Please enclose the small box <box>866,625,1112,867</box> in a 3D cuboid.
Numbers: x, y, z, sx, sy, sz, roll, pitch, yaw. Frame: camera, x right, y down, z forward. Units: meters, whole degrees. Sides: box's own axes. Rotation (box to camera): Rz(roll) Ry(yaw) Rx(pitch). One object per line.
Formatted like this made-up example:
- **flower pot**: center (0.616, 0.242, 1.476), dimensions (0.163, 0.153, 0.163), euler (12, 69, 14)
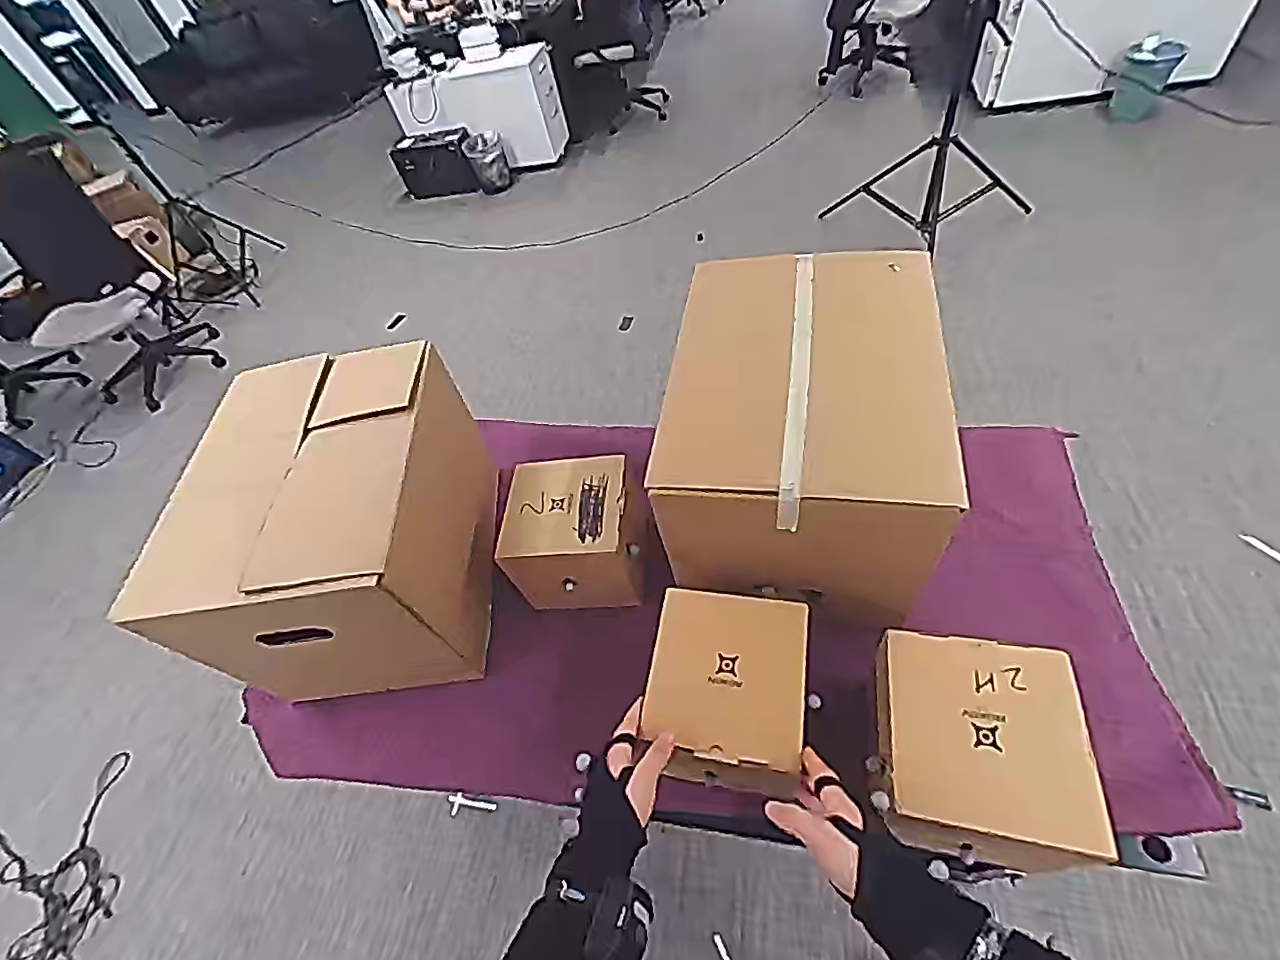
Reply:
- **small box**: center (0.333, 0.276, 0.560), dimensions (0.168, 0.176, 0.179), euler (4, 52, 17)
